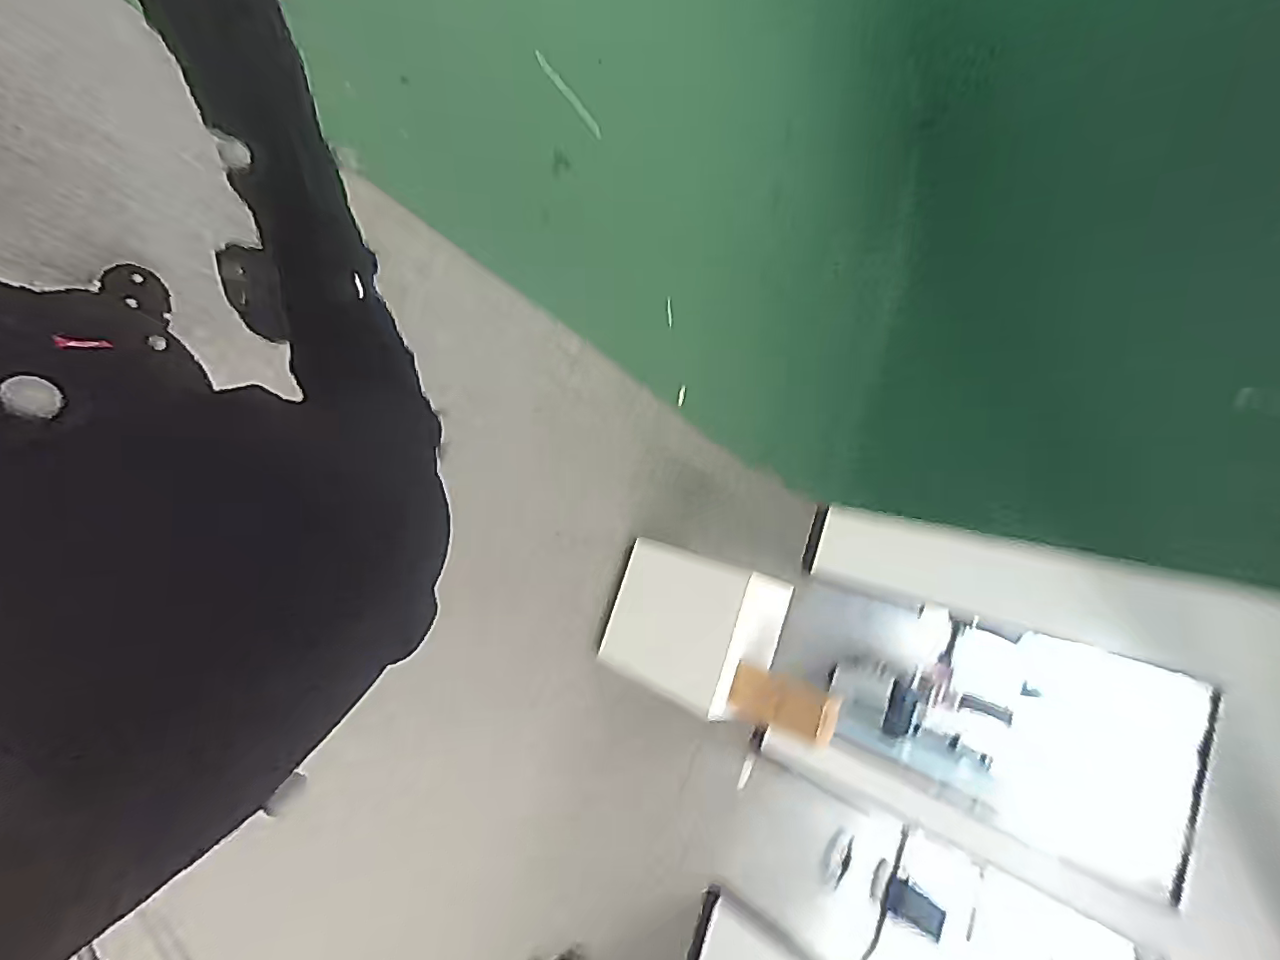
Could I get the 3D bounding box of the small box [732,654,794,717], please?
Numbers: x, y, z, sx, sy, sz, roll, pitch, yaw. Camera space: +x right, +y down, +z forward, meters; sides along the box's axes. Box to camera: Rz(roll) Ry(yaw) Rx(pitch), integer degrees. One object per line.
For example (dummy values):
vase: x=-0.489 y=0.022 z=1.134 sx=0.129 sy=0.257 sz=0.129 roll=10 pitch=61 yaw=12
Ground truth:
small box: x=0.464 y=0.747 z=1.974 sx=0.179 sy=0.176 sz=0.168 roll=27 pitch=79 yaw=-49

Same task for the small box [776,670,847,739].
small box: x=0.592 y=0.771 z=1.873 sx=0.179 sy=0.176 sz=0.168 roll=23 pitch=82 yaw=-50
